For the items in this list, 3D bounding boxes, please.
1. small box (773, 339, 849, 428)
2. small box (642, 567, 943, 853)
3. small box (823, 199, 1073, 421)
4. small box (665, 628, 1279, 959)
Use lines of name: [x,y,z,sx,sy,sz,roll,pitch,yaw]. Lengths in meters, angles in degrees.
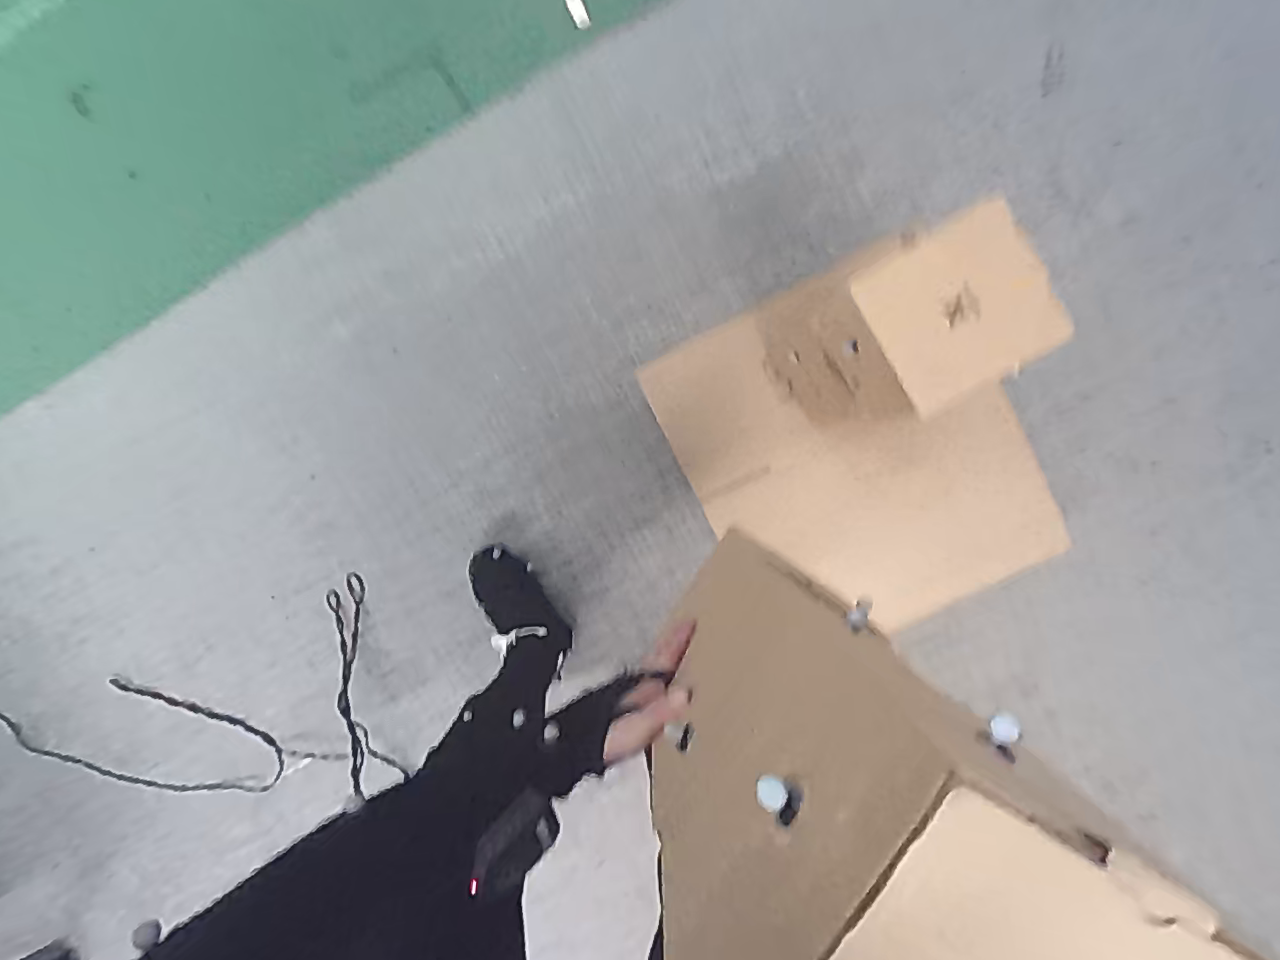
small box: [0.361,-0.208,0.964,0.179,0.176,0.168,-34,91,7]
small box: [0.118,0.195,0.420,0.168,0.176,0.179,33,94,-2]
small box: [0.338,-0.181,0.640,0.179,0.176,0.168,-30,91,6]
small box: [0.120,0.200,0.255,0.168,0.176,0.179,32,94,-1]
